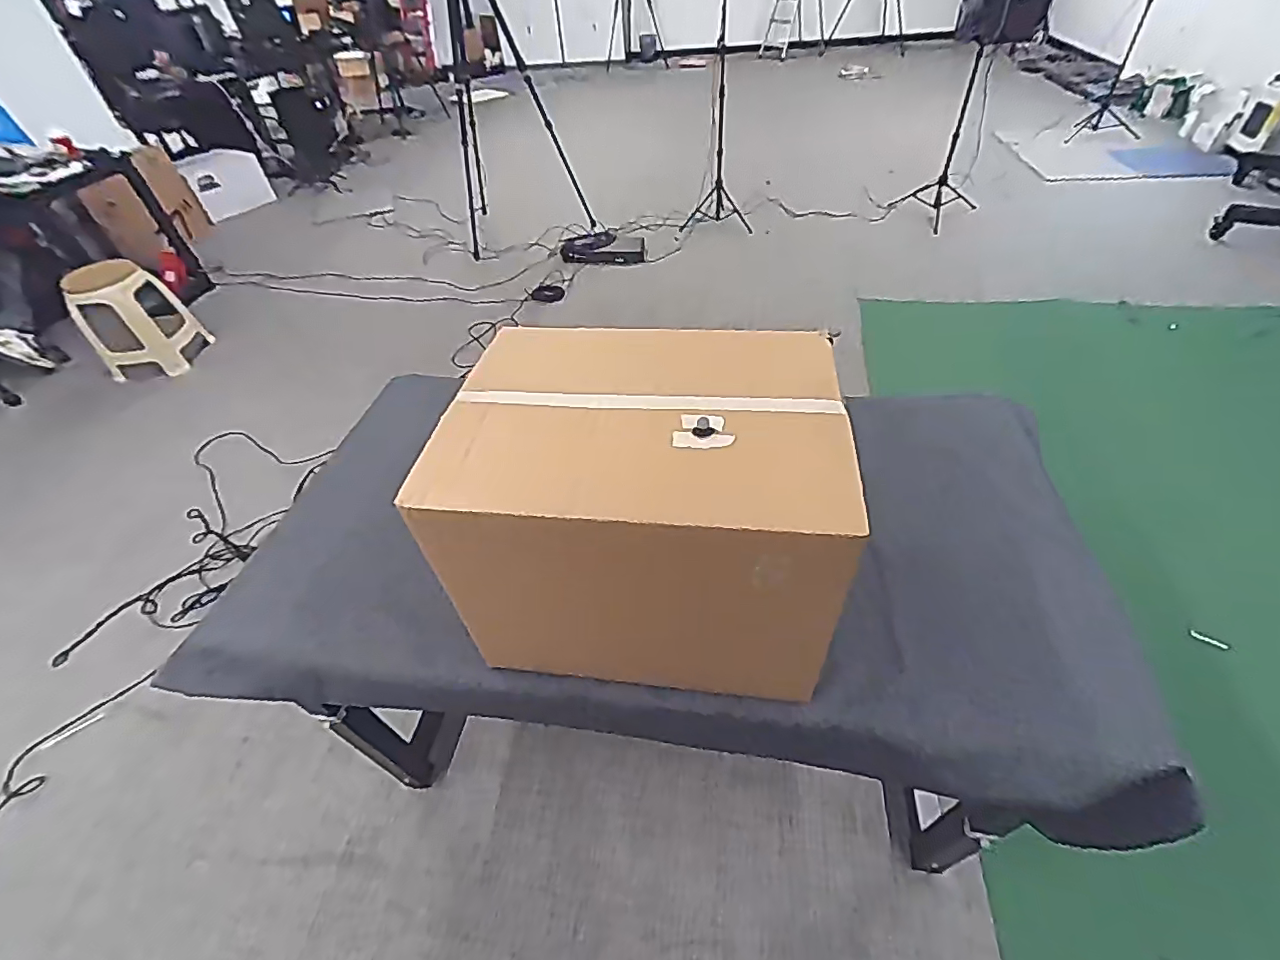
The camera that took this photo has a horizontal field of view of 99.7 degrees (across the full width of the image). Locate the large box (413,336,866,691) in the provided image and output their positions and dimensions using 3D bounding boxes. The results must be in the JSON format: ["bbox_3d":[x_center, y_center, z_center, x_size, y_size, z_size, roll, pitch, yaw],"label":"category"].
[{"bbox_3d":[0.014,0.034,0.671,0.408,0.320,0.320,3,45,8],"label":"large box"}]
